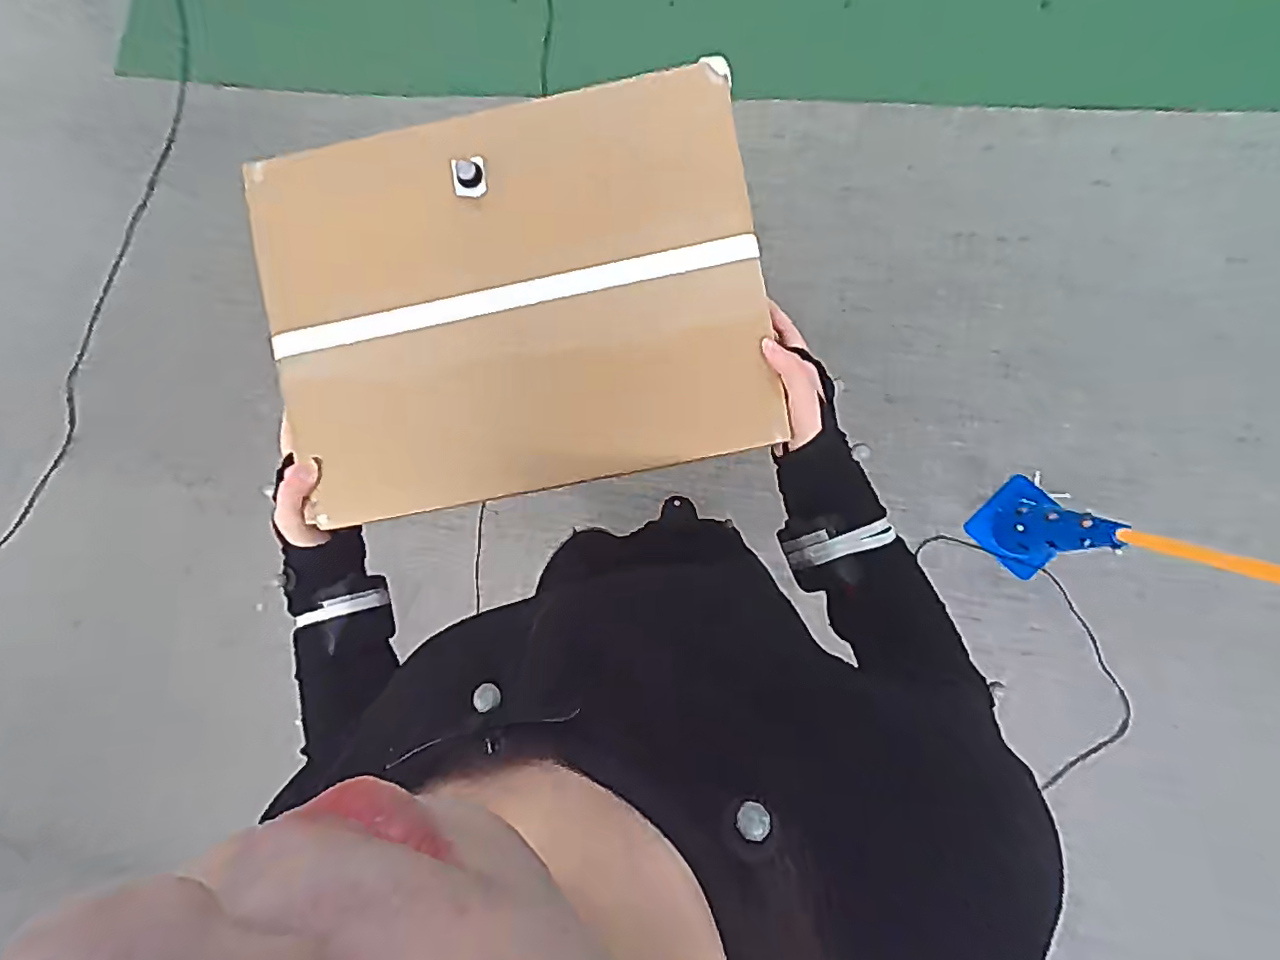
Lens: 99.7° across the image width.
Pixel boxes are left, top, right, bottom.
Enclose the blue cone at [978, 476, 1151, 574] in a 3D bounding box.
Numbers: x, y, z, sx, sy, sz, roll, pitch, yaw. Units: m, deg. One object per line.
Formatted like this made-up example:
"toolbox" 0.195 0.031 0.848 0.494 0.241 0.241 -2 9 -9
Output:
"blue cone" 0.933 0.099 1.170 0.192 0.380 0.193 42 93 8
